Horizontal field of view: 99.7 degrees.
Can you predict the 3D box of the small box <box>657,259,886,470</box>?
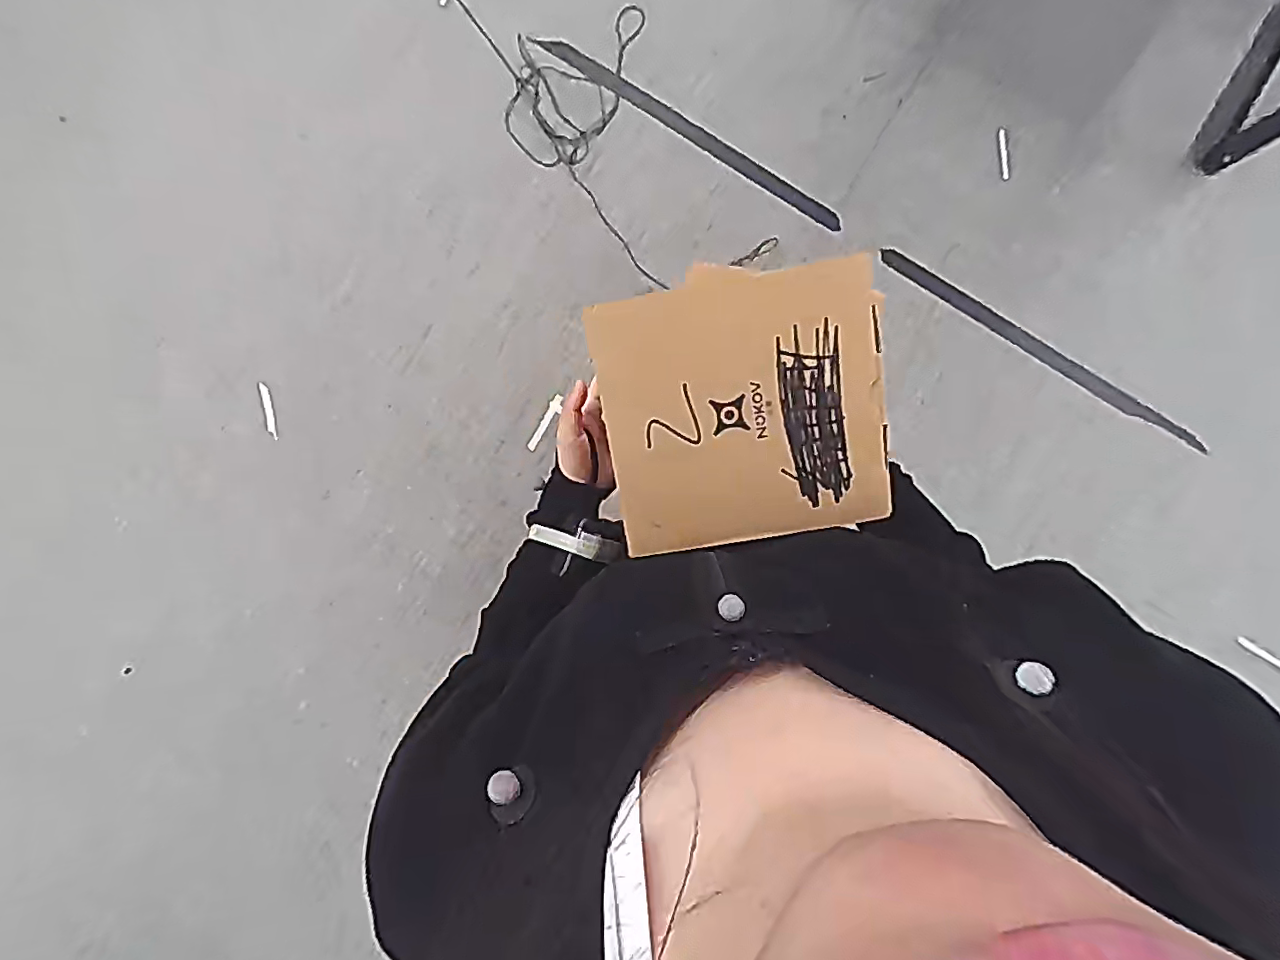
[{"bbox_3d":[0.121,-0.119,0.576,0.179,0.176,0.168,11,101,-3],"label":"small box"}]
